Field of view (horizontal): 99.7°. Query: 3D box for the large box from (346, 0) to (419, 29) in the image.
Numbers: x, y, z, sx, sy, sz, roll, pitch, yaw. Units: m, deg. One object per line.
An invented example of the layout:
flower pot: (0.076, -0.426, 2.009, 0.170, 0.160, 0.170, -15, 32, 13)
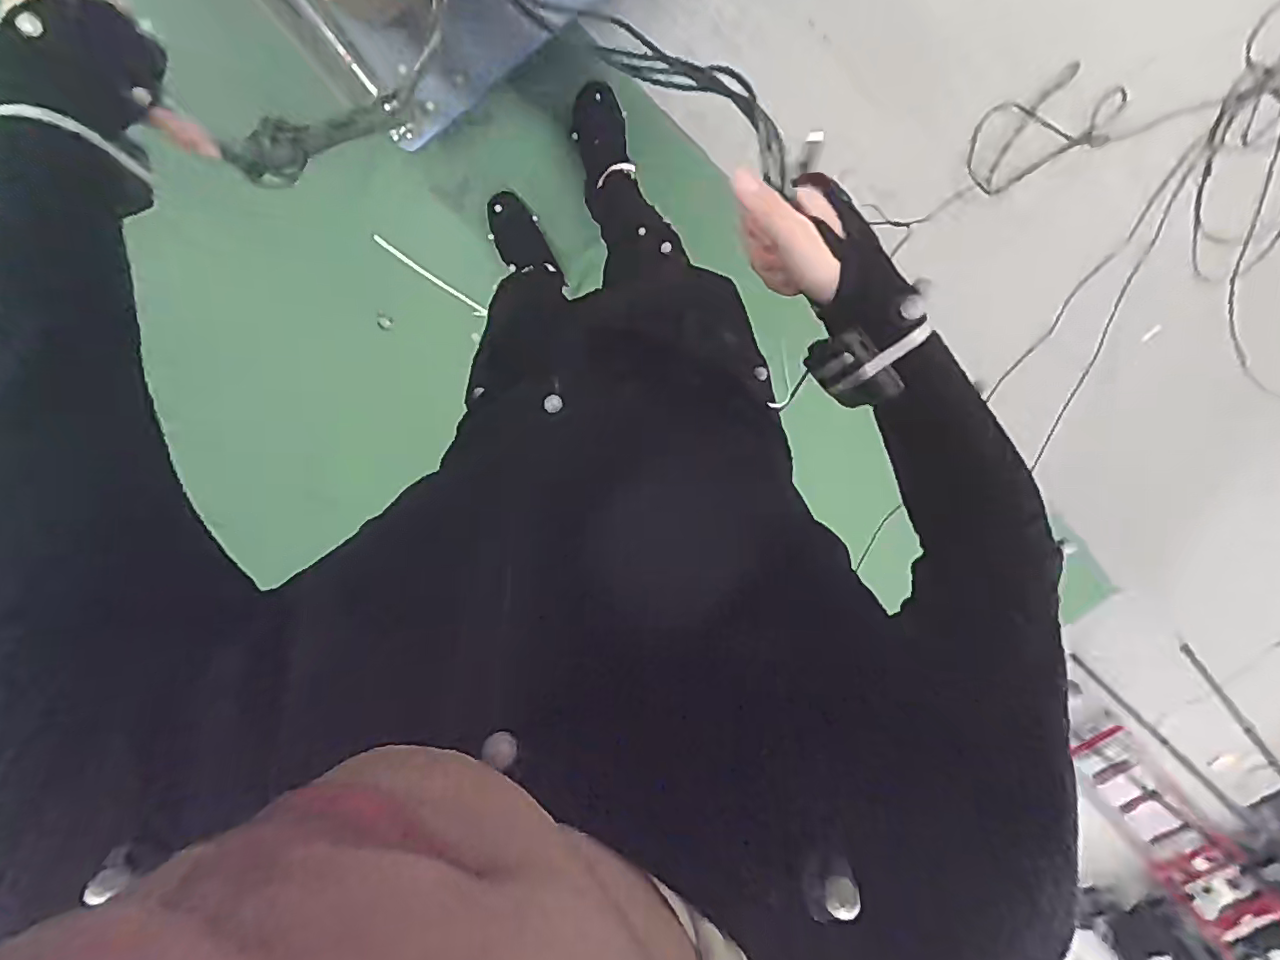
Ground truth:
large box: (-0.362, -0.944, 0.747, 0.408, 0.320, 0.320, -33, 123, 10)
